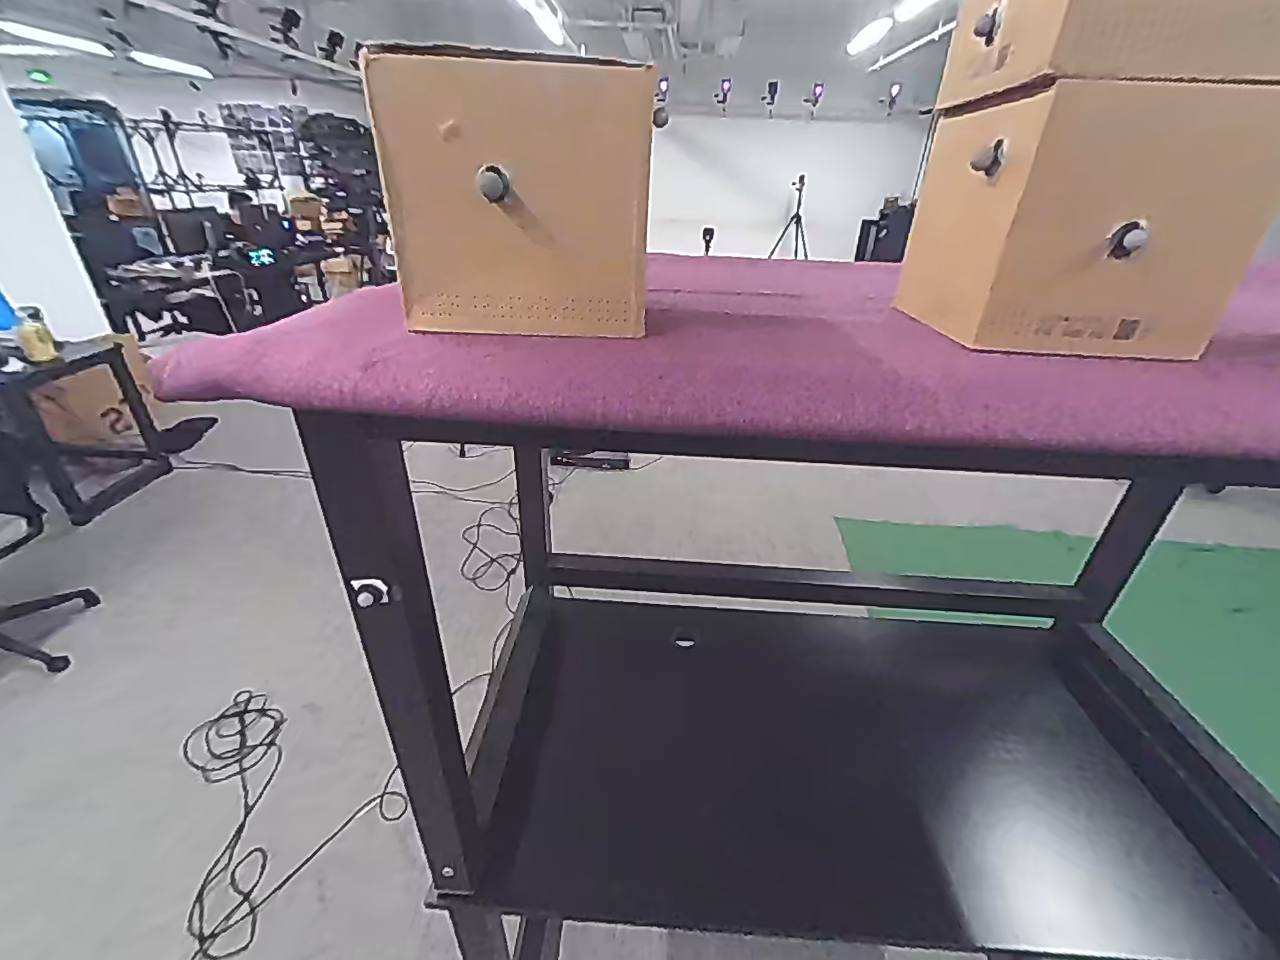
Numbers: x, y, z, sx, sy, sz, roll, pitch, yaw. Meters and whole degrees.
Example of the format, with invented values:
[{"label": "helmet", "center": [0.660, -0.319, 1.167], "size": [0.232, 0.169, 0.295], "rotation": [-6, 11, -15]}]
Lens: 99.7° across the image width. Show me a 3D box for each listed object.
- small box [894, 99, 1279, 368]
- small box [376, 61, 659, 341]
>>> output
[{"label": "small box", "center": [0.337, -0.198, 0.445], "size": [0.168, 0.176, 0.179], "rotation": [5, 28, 2]}, {"label": "small box", "center": [-0.079, -0.215, 0.436], "size": [0.179, 0.176, 0.168], "rotation": [1, 30, -3]}]
